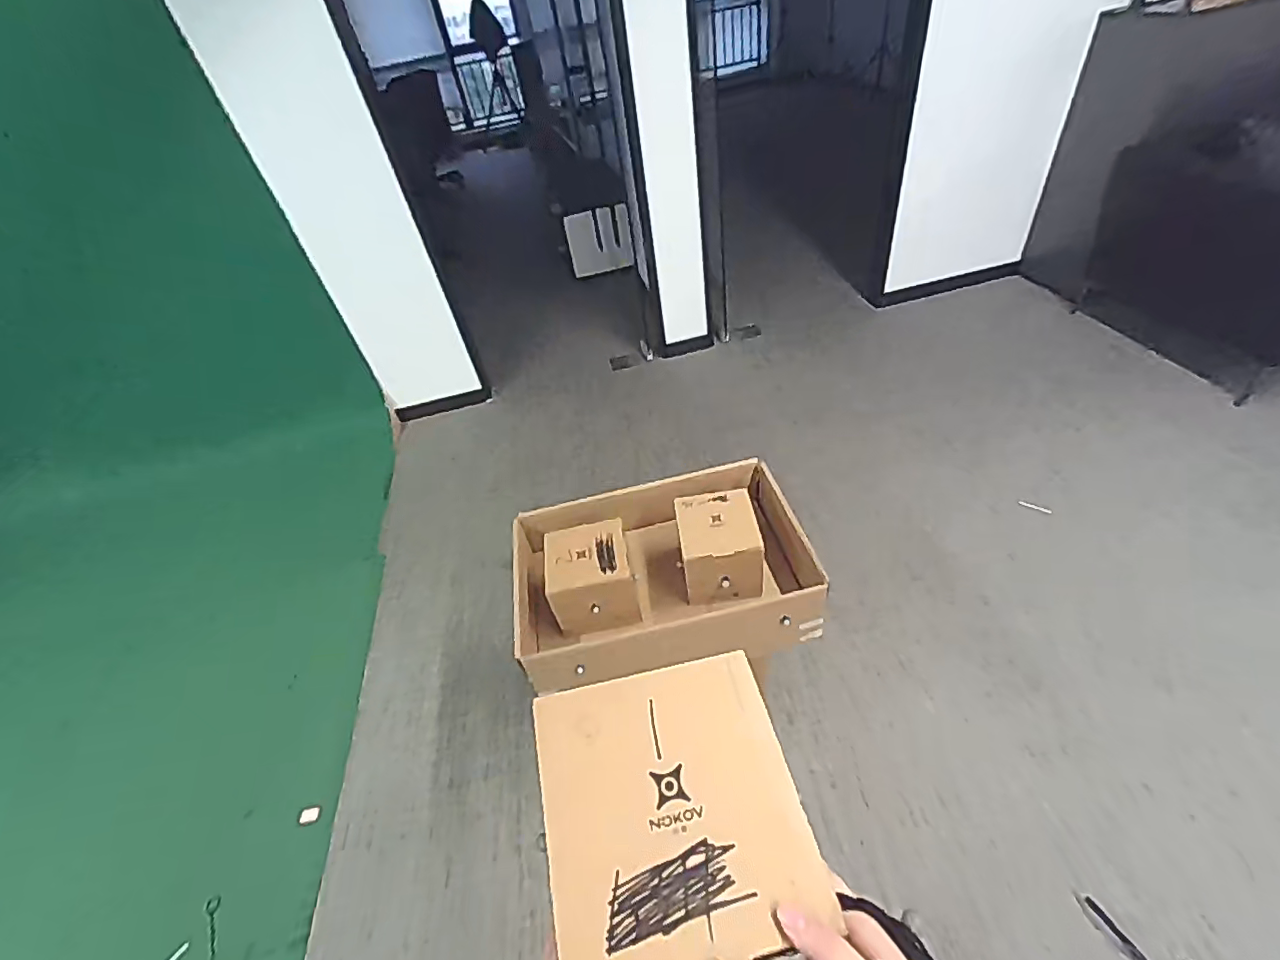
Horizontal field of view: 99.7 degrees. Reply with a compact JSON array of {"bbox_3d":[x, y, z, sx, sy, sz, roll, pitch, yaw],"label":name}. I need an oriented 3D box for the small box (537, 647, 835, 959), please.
[{"bbox_3d":[0.021,0.259,0.418,0.168,0.176,0.179,-10,49,-8],"label":"small box"}]
